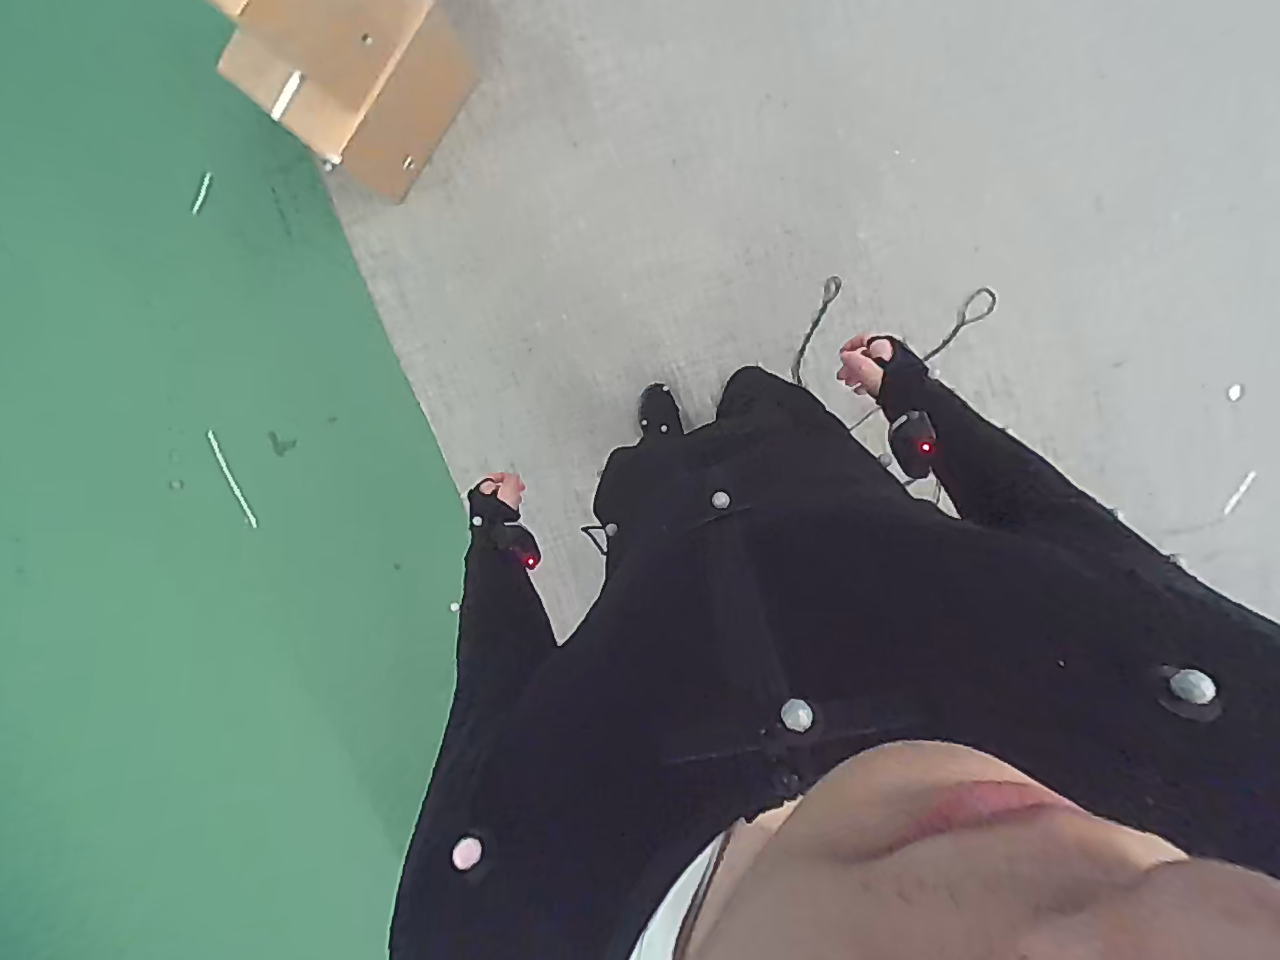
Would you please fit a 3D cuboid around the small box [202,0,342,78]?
[{"bbox_3d":[-0.641,-0.842,0.906,0.168,0.176,0.179,41,100,-6],"label":"small box"}]

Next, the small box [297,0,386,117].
[{"bbox_3d":[-0.637,-0.875,1.066,0.168,0.176,0.179,39,100,-6],"label":"small box"}]
